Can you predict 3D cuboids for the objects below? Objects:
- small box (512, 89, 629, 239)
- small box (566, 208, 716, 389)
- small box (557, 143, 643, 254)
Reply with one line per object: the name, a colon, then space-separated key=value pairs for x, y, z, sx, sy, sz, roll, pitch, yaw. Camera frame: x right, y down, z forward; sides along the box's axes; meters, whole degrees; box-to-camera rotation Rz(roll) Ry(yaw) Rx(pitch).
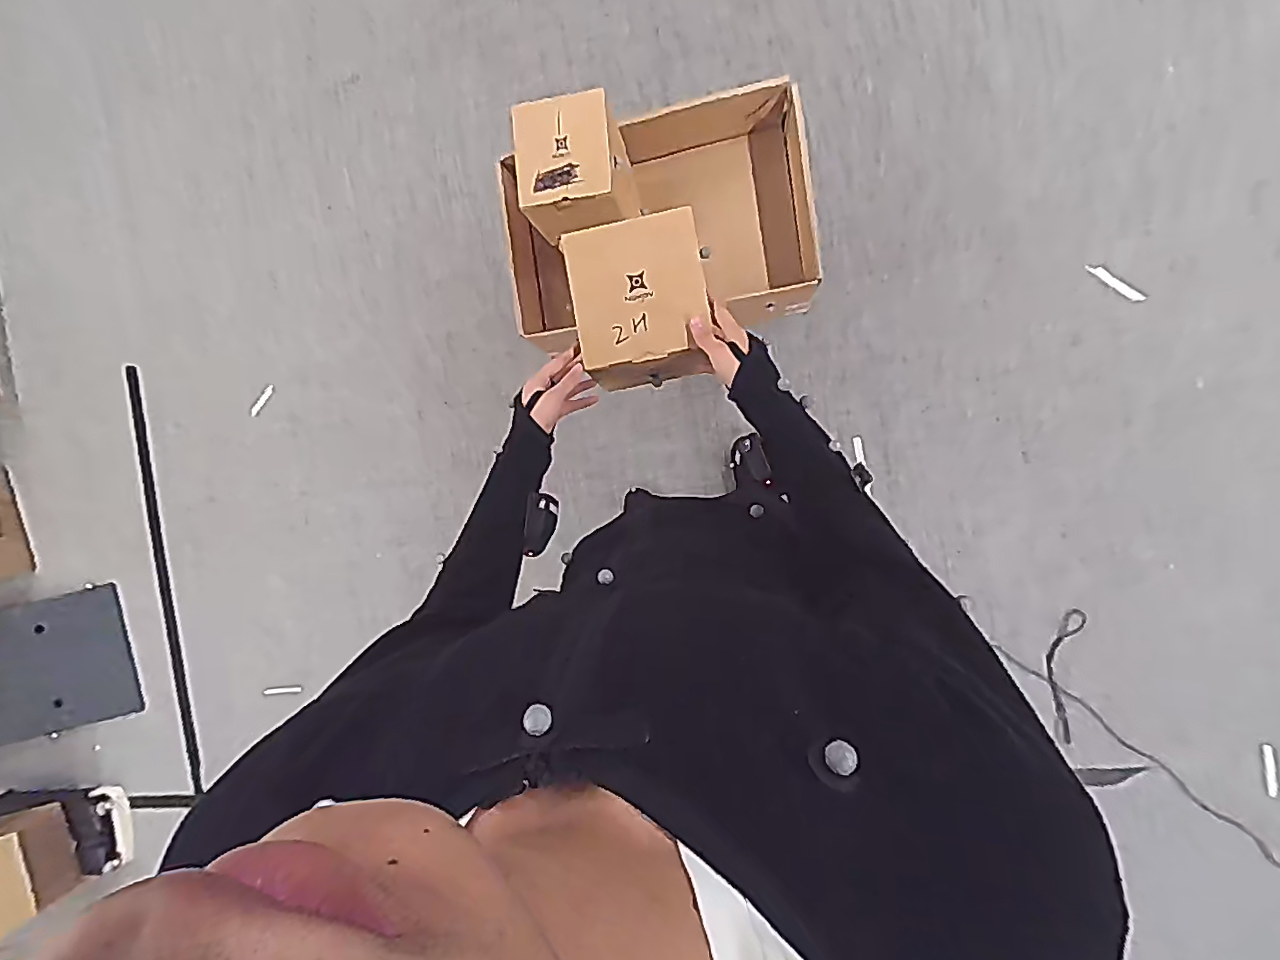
small box: x=-0.118 y=-0.558 z=0.984 sx=0.168 sy=0.176 sz=0.179 roll=-4 pitch=92 yaw=9
small box: x=0.007 y=-0.236 z=0.747 sx=0.168 sy=0.176 sz=0.179 roll=-10 pitch=90 yaw=6
small box: x=-0.085 y=-0.564 z=1.146 sx=0.168 sy=0.176 sz=0.179 roll=-10 pitch=90 yaw=10
